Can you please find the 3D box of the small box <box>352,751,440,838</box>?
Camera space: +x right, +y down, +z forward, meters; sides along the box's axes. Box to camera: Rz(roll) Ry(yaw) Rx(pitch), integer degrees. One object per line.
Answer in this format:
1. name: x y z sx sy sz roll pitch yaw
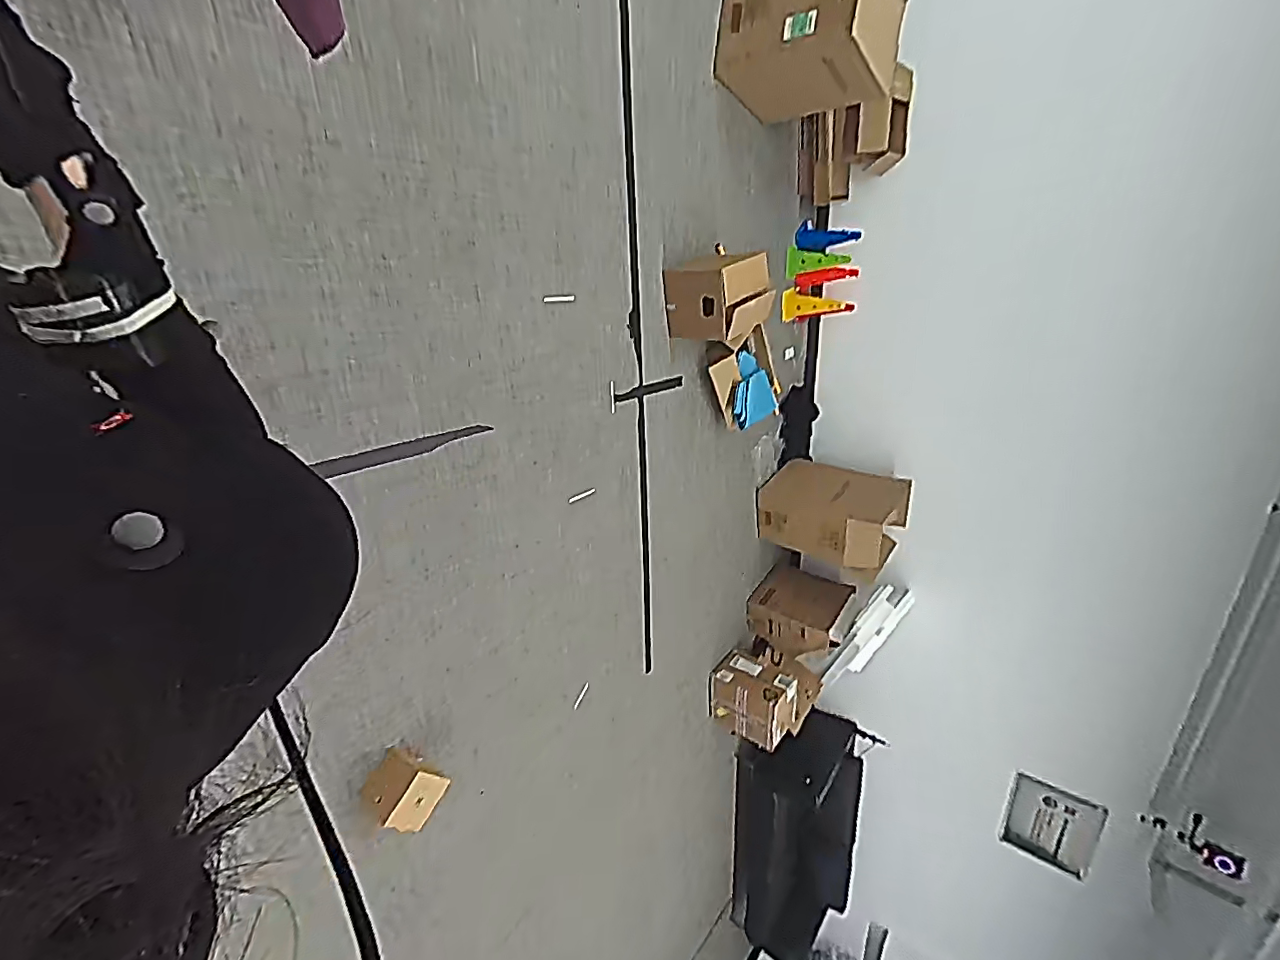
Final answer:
1. small box: -0.805 1.028 1.770 0.179 0.176 0.168 -59 142 -23
